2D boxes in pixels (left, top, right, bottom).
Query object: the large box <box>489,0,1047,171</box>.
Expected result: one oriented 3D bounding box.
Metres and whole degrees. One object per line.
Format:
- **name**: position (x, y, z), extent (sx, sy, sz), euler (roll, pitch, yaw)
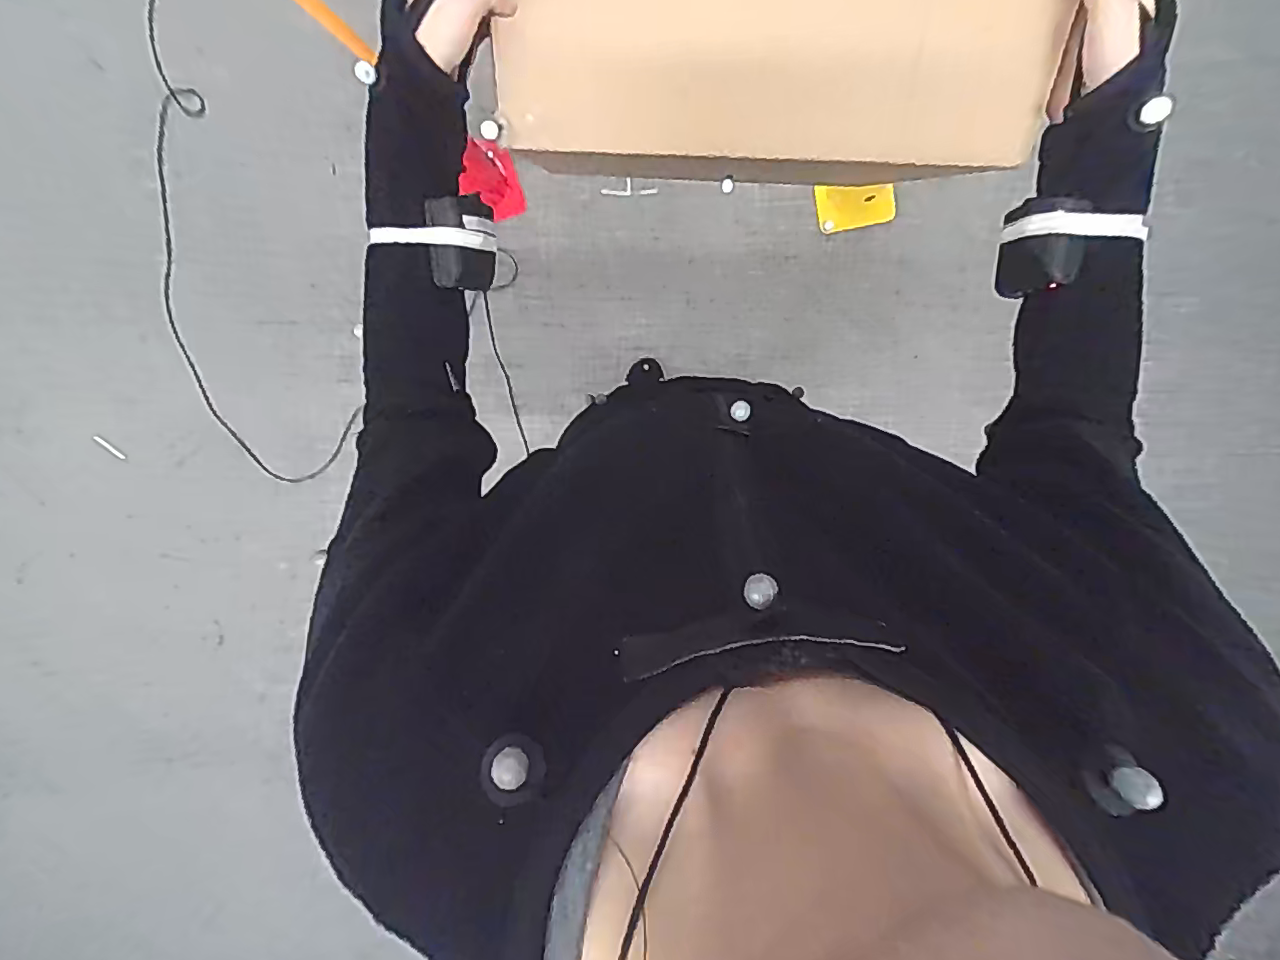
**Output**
- **large box**: position (0.092, -0.460, 0.485), extent (0.408, 0.320, 0.320), euler (1, 116, -2)
